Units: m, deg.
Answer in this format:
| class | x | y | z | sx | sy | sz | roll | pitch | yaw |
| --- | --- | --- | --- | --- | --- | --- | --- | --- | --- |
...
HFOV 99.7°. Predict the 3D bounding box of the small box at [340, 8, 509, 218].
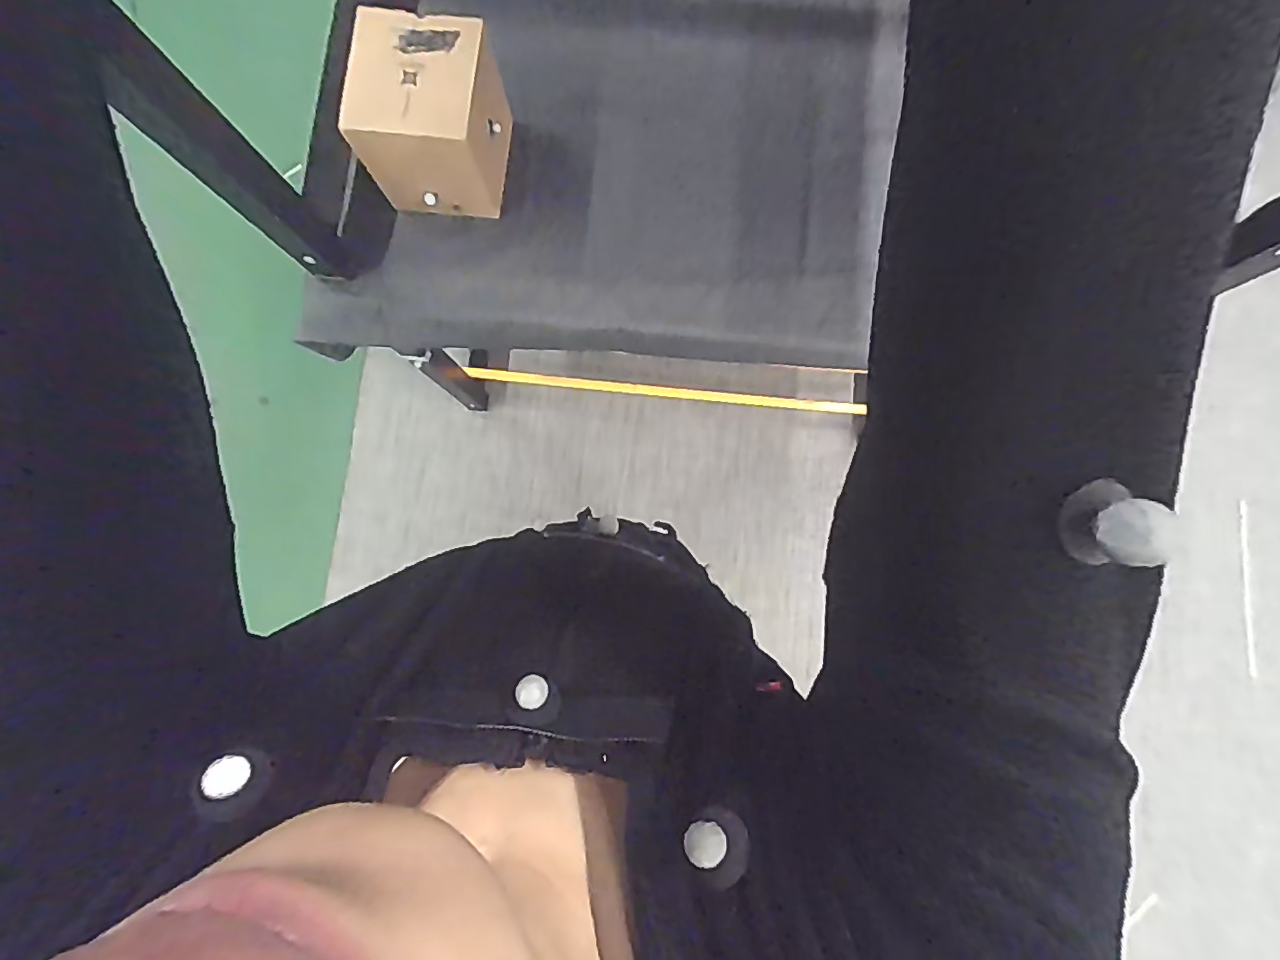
| class | x | y | z | sx | sy | sz | roll | pitch | yaw |
| --- | --- | --- | --- | --- | --- | --- | --- | --- | --- |
| small box | -0.292 | -0.511 | 0.773 | 0.168 | 0.176 | 0.179 | 5 | 83 | 0 |
